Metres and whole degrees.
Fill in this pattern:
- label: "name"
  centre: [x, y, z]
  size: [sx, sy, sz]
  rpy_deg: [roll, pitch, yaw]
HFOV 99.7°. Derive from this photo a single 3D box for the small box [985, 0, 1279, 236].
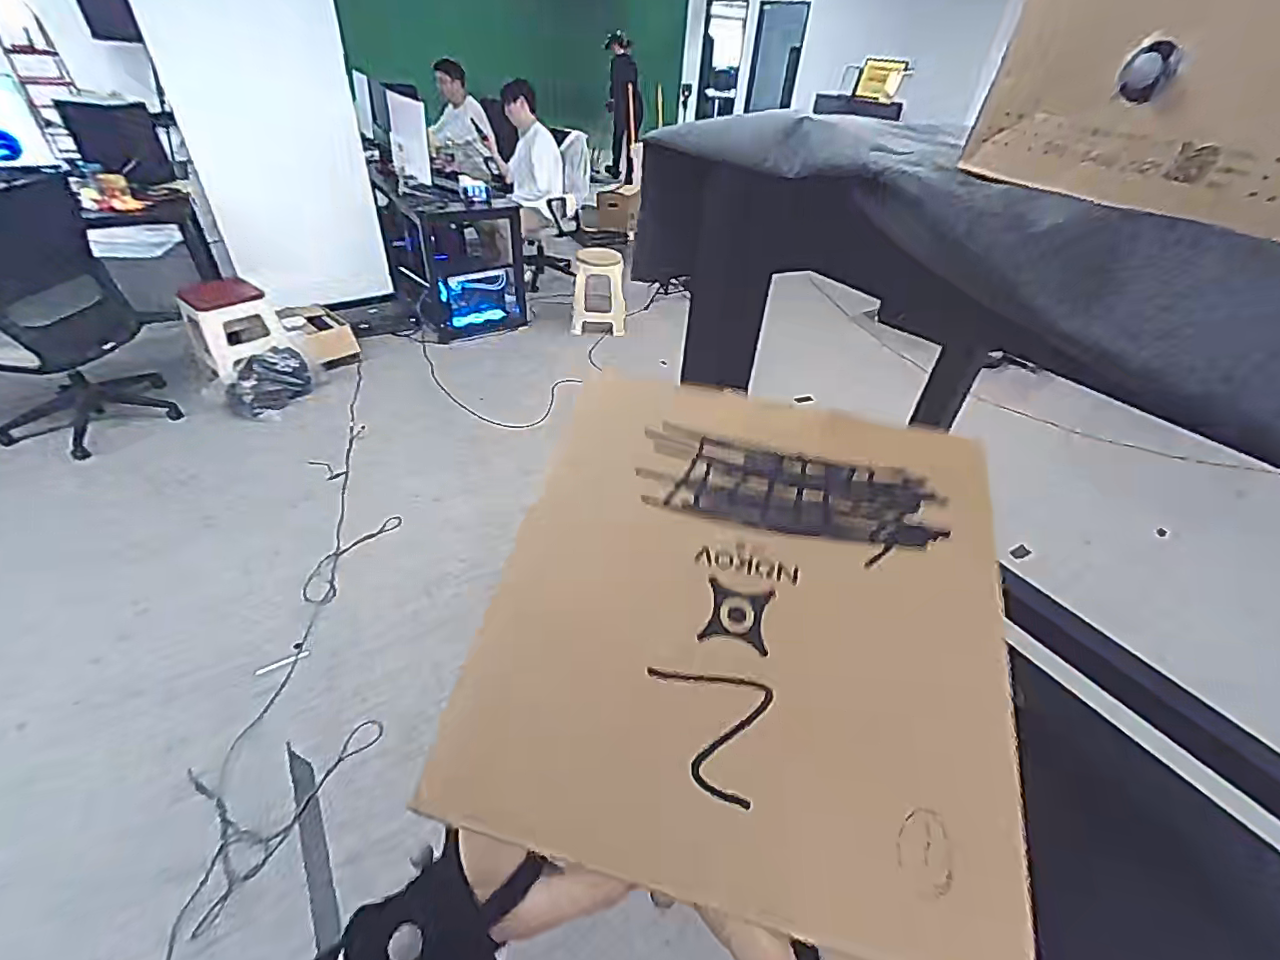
- label: "small box"
  centre: [0.309, -0.226, 0.251]
  size: [0.179, 0.176, 0.168]
  rpy_deg: [-19, 46, -29]
